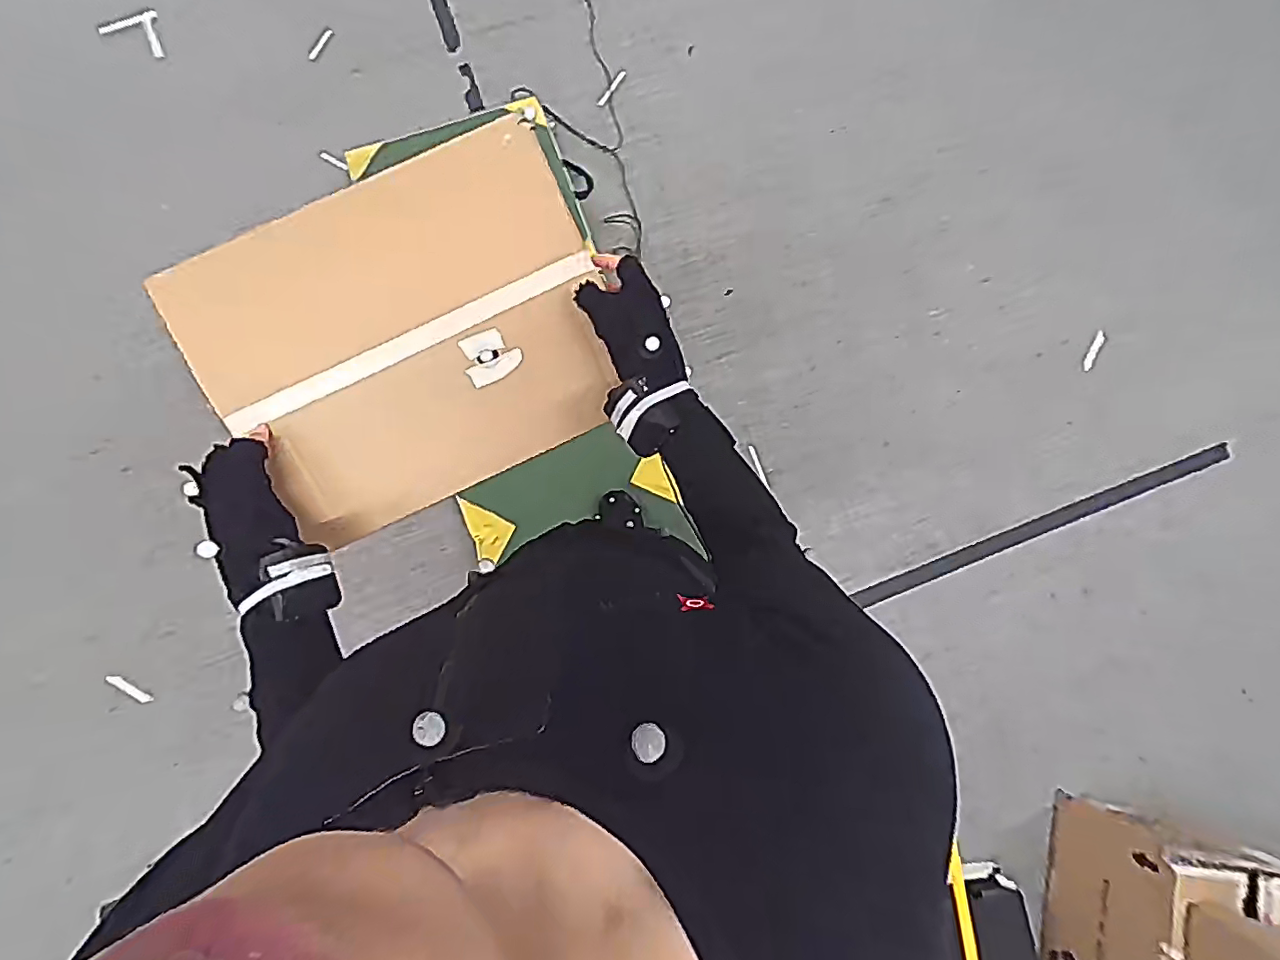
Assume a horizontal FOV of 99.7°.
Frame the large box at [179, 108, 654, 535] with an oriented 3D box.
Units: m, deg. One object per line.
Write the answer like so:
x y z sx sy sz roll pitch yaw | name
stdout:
-0.237 -0.175 0.713 0.408 0.320 0.320 -25 99 -2 | large box
